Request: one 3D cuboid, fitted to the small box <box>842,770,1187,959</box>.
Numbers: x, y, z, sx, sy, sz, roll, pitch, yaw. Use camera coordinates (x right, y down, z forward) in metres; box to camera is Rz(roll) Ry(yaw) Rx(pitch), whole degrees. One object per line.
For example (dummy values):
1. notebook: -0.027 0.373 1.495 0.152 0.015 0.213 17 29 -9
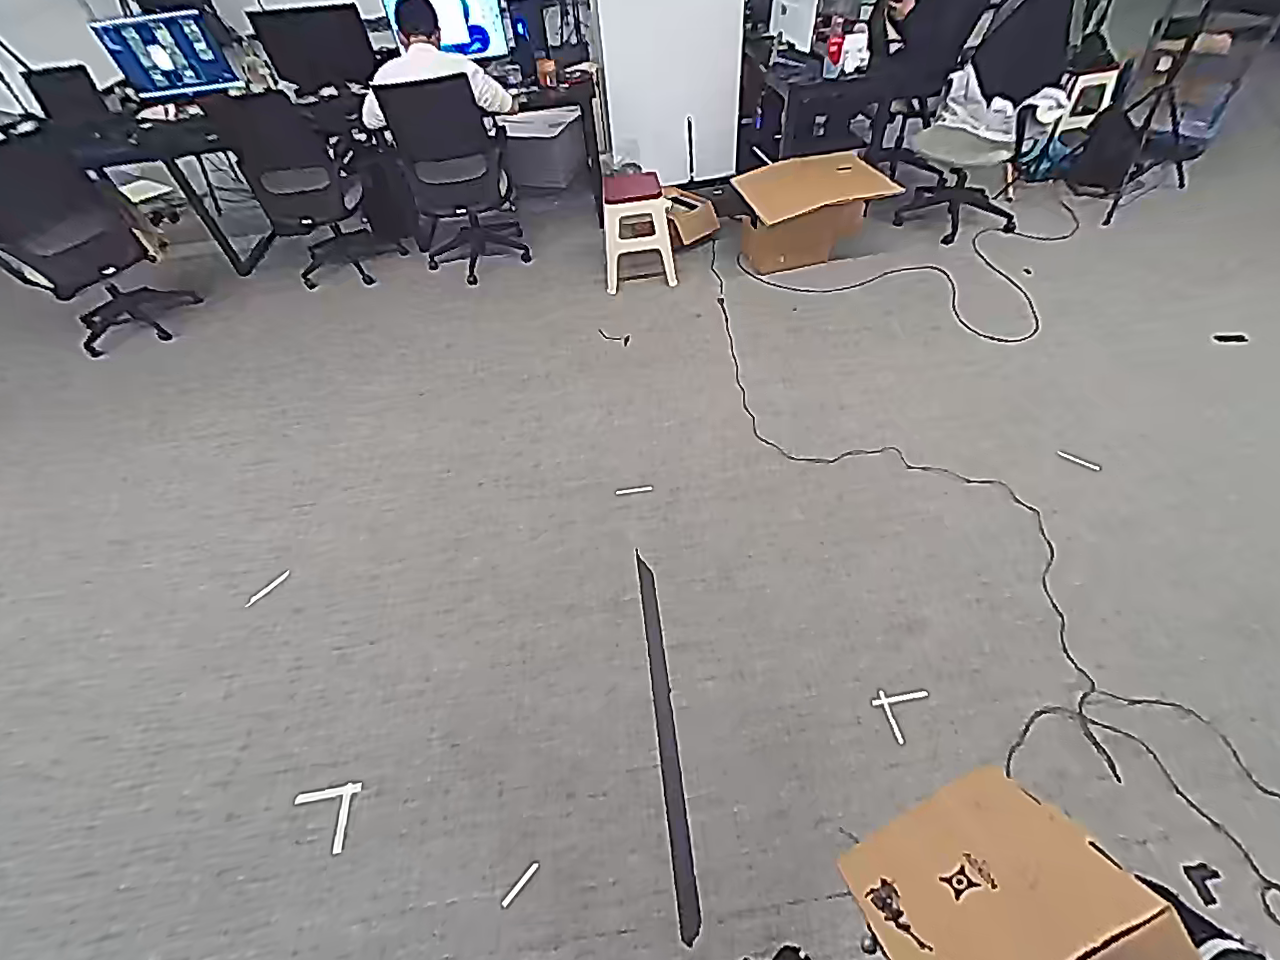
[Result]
1. small box: 0.308 0.391 0.440 0.179 0.168 0.176 -29 92 -2
